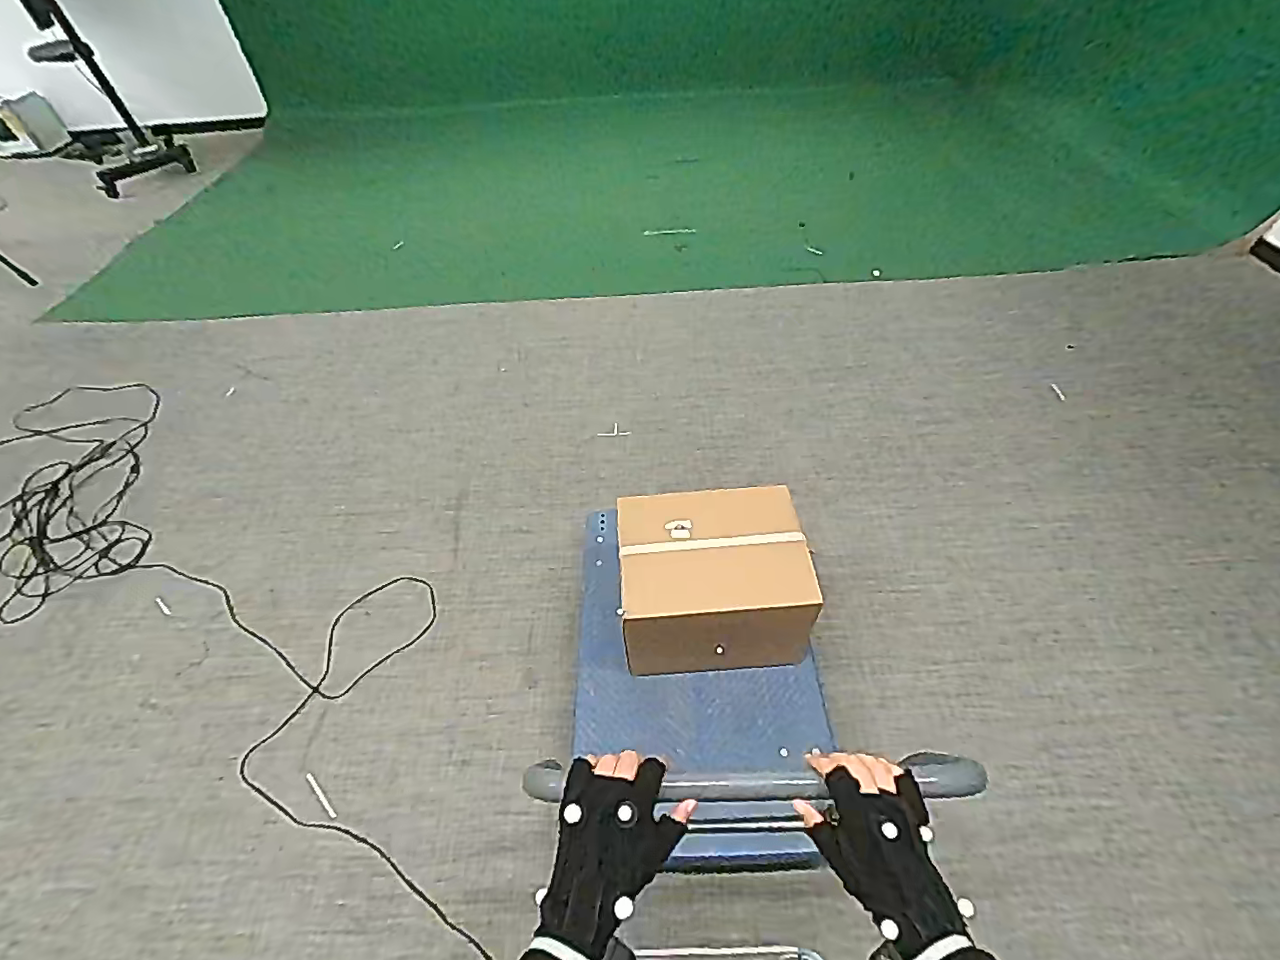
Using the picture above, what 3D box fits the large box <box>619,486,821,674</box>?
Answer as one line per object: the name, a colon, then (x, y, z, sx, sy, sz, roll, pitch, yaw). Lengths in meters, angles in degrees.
large box: (0.168, 0.244, 1.292, 0.408, 0.320, 0.320, -5, 49, 0)
